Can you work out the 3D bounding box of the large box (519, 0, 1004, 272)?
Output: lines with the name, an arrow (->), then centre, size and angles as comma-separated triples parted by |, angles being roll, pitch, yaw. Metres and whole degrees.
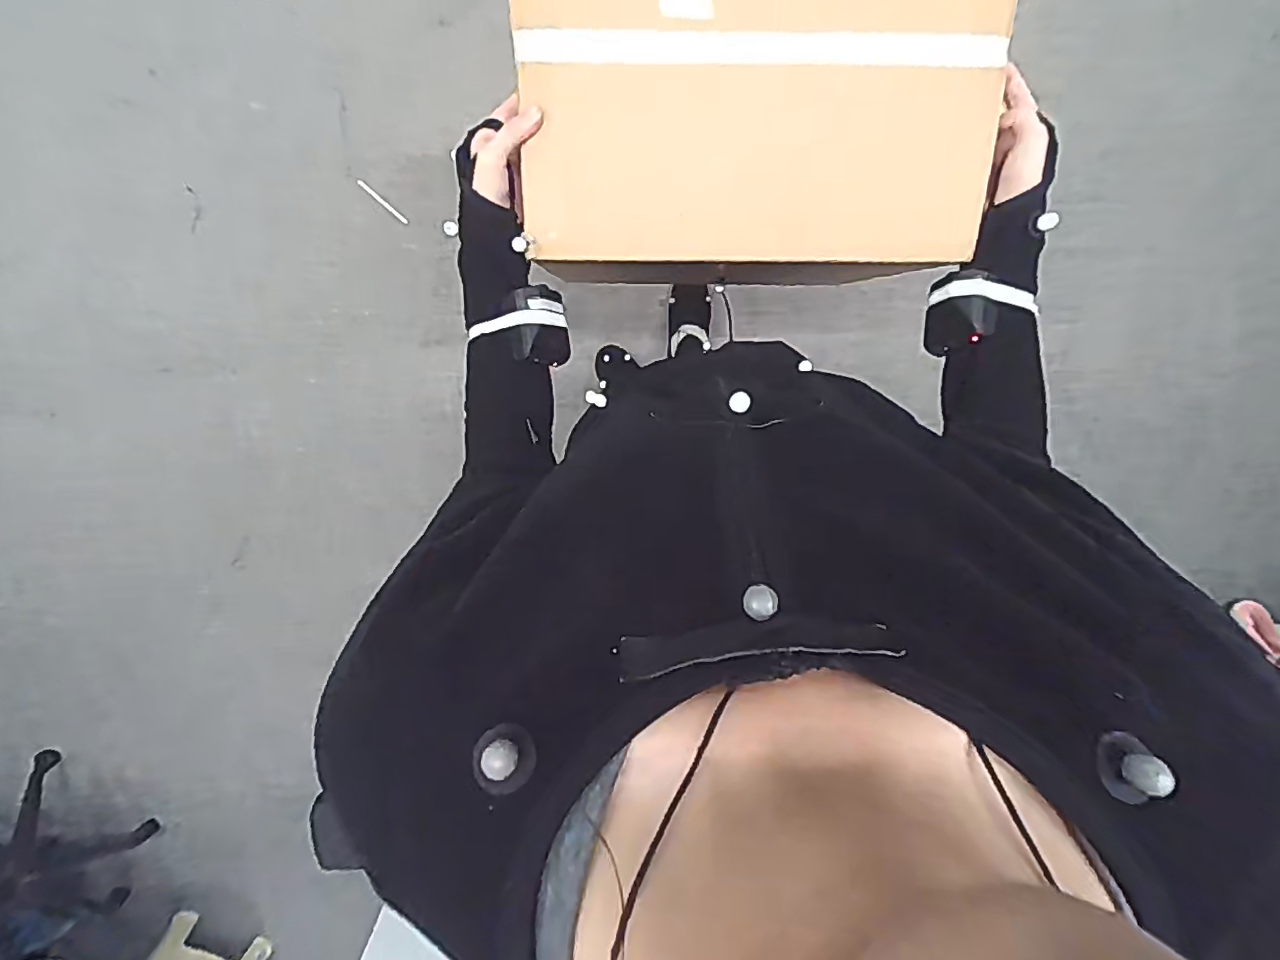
large box -> 0.099, -0.401, 0.593 | 0.408, 0.320, 0.320 | 0, 106, -1
